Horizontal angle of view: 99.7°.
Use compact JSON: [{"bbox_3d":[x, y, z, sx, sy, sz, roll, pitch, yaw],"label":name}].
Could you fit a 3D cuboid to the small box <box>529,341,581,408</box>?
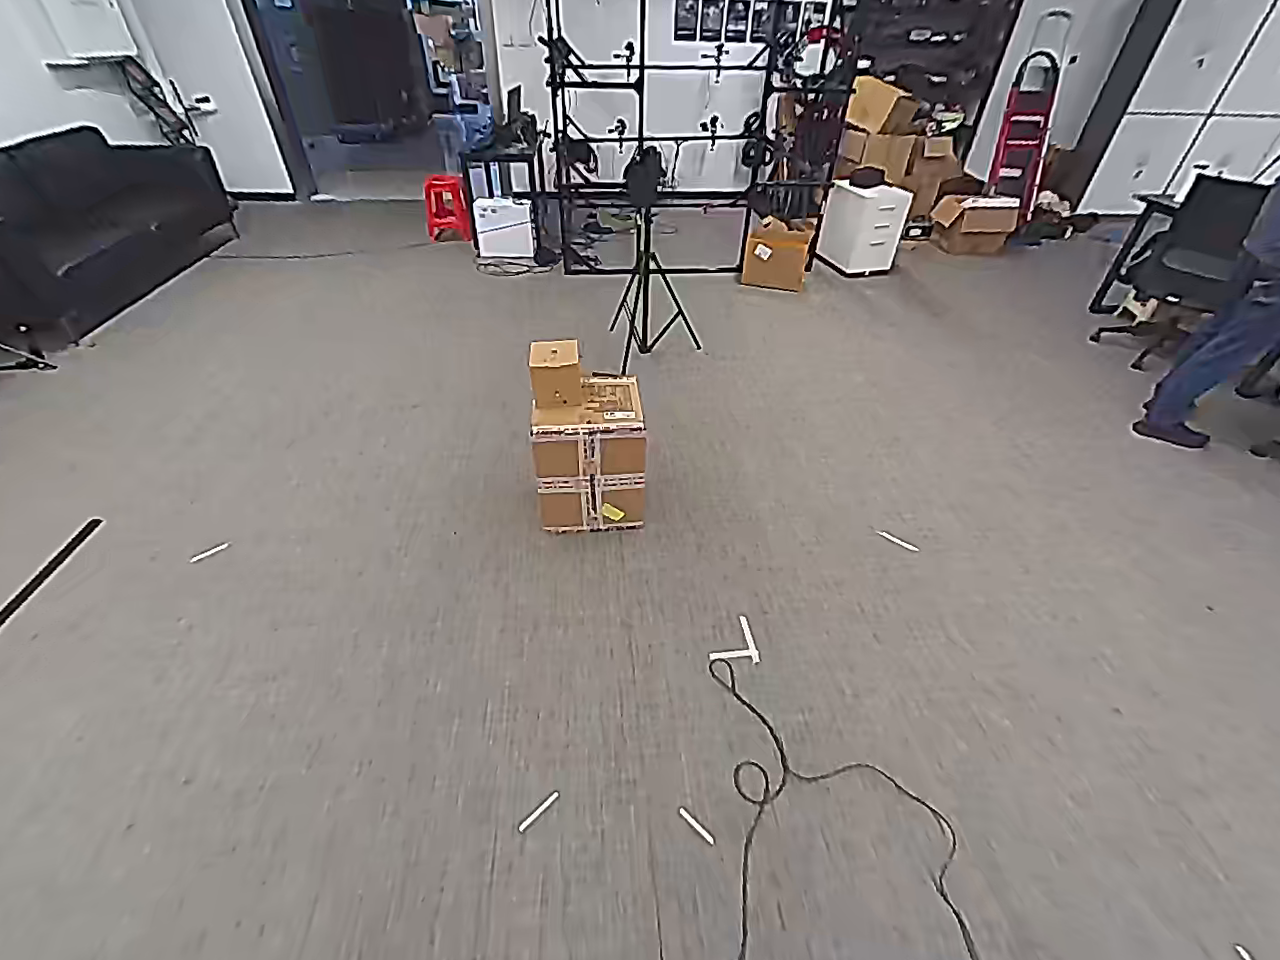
[{"bbox_3d":[-0.299,-0.375,1.921,0.168,0.176,0.179,-5,43,-4],"label":"small box"}]
